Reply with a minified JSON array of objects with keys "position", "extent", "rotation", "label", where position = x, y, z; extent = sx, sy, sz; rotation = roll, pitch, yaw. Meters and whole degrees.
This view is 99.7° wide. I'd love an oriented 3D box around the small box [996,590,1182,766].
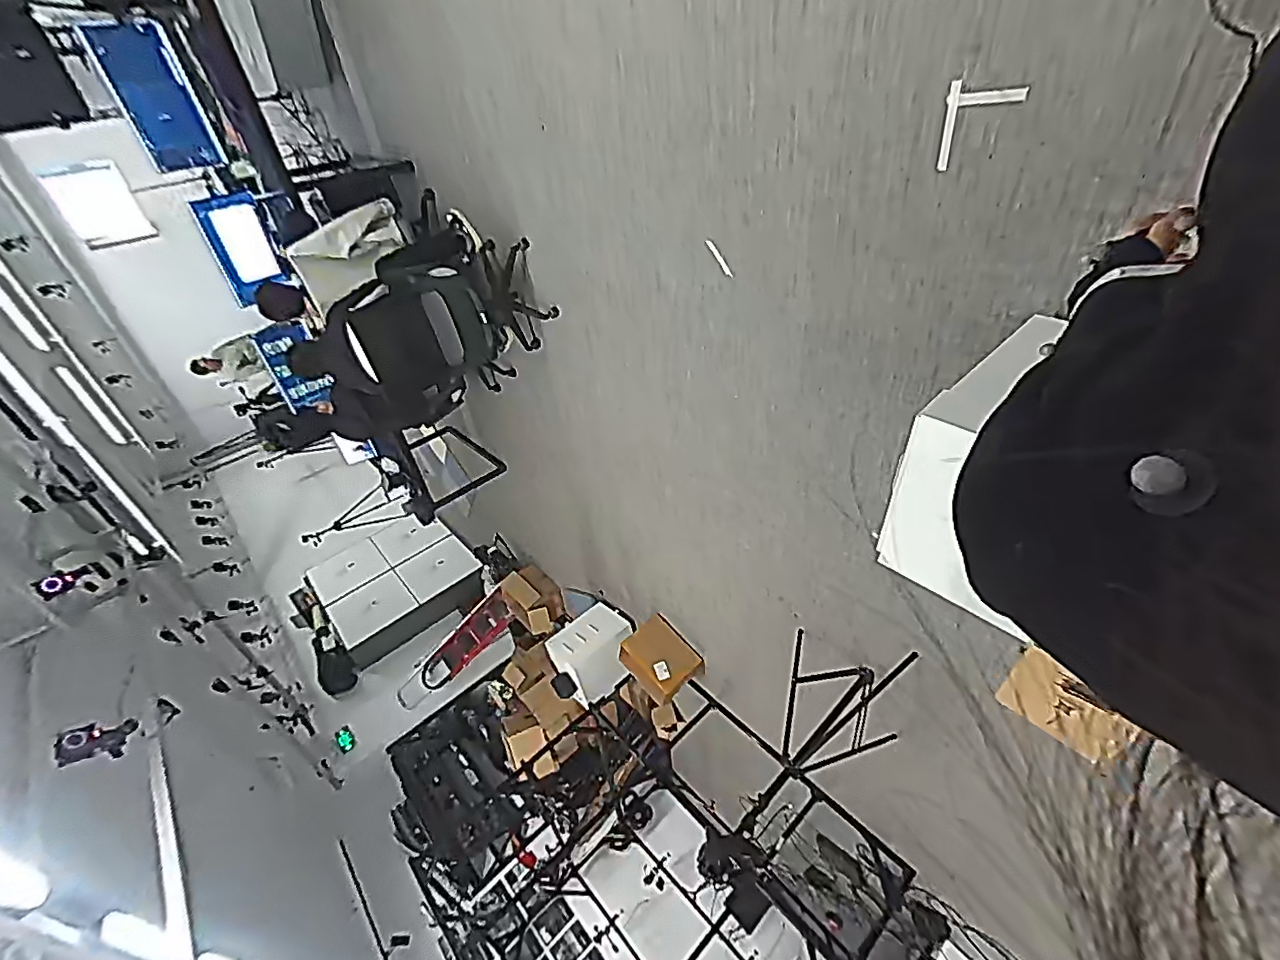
[{"position":[0.732,0.316,0.886],"extent":[0.168,0.176,0.179],"rotation":[34,144,36],"label":"small box"}]
